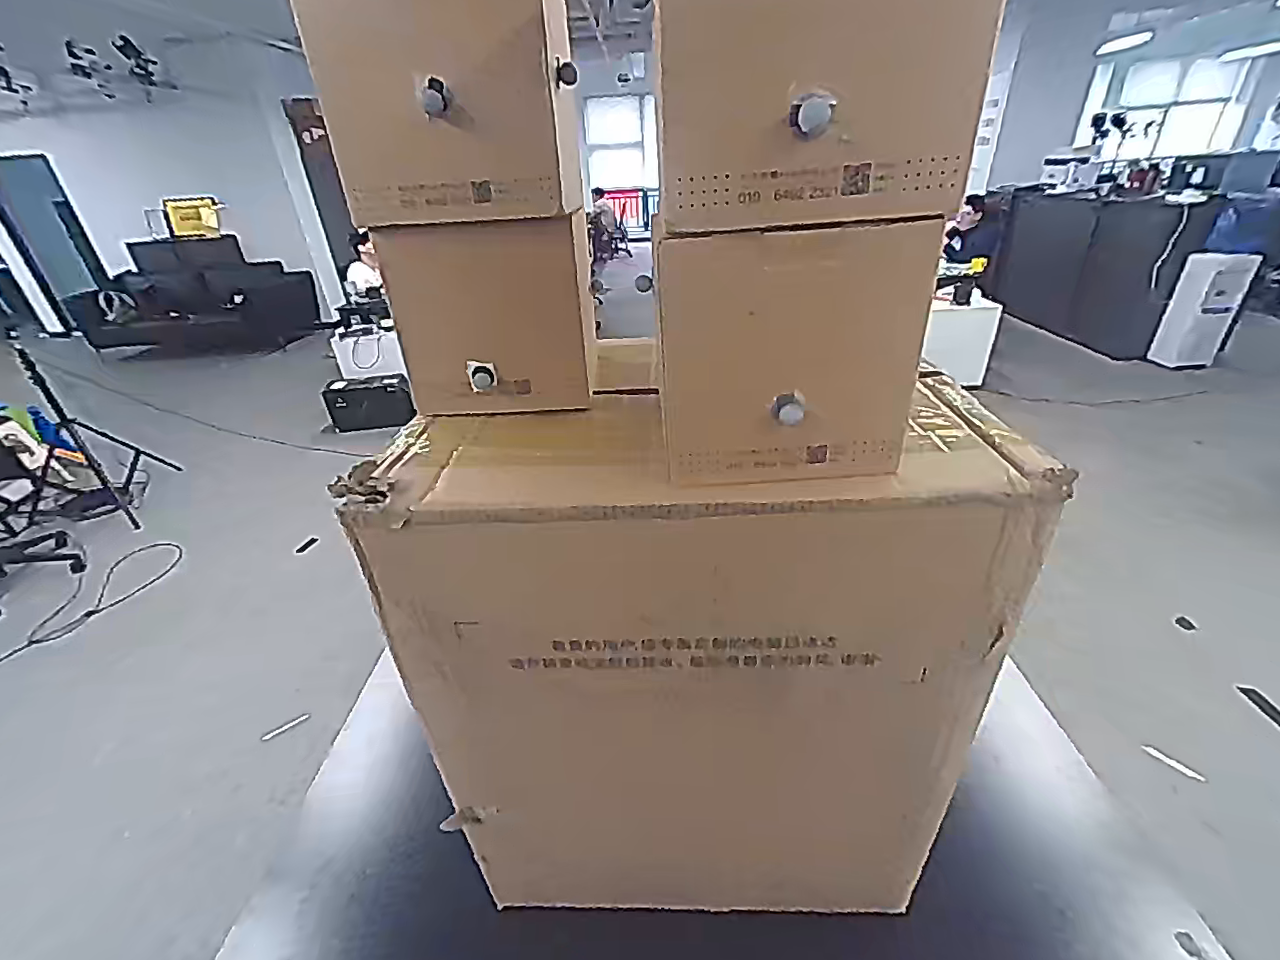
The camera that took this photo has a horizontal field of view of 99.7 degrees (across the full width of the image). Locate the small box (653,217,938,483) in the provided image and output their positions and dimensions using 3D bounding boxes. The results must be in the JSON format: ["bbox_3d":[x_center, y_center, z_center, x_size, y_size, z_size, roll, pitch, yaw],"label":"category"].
[{"bbox_3d":[0.096,-0.113,0.423,0.168,0.176,0.179,-4,30,2],"label":"small box"}]

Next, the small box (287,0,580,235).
[{"bbox_3d":[-0.145,-0.304,0.453,0.168,0.176,0.179,-3,30,1],"label":"small box"}]

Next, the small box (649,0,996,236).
[{"bbox_3d":[0.090,-0.252,0.336,0.168,0.176,0.179,-4,31,3],"label":"small box"}]

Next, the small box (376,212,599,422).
[{"bbox_3d":[-0.133,-0.170,0.548,0.168,0.176,0.179,-5,30,0],"label":"small box"}]
